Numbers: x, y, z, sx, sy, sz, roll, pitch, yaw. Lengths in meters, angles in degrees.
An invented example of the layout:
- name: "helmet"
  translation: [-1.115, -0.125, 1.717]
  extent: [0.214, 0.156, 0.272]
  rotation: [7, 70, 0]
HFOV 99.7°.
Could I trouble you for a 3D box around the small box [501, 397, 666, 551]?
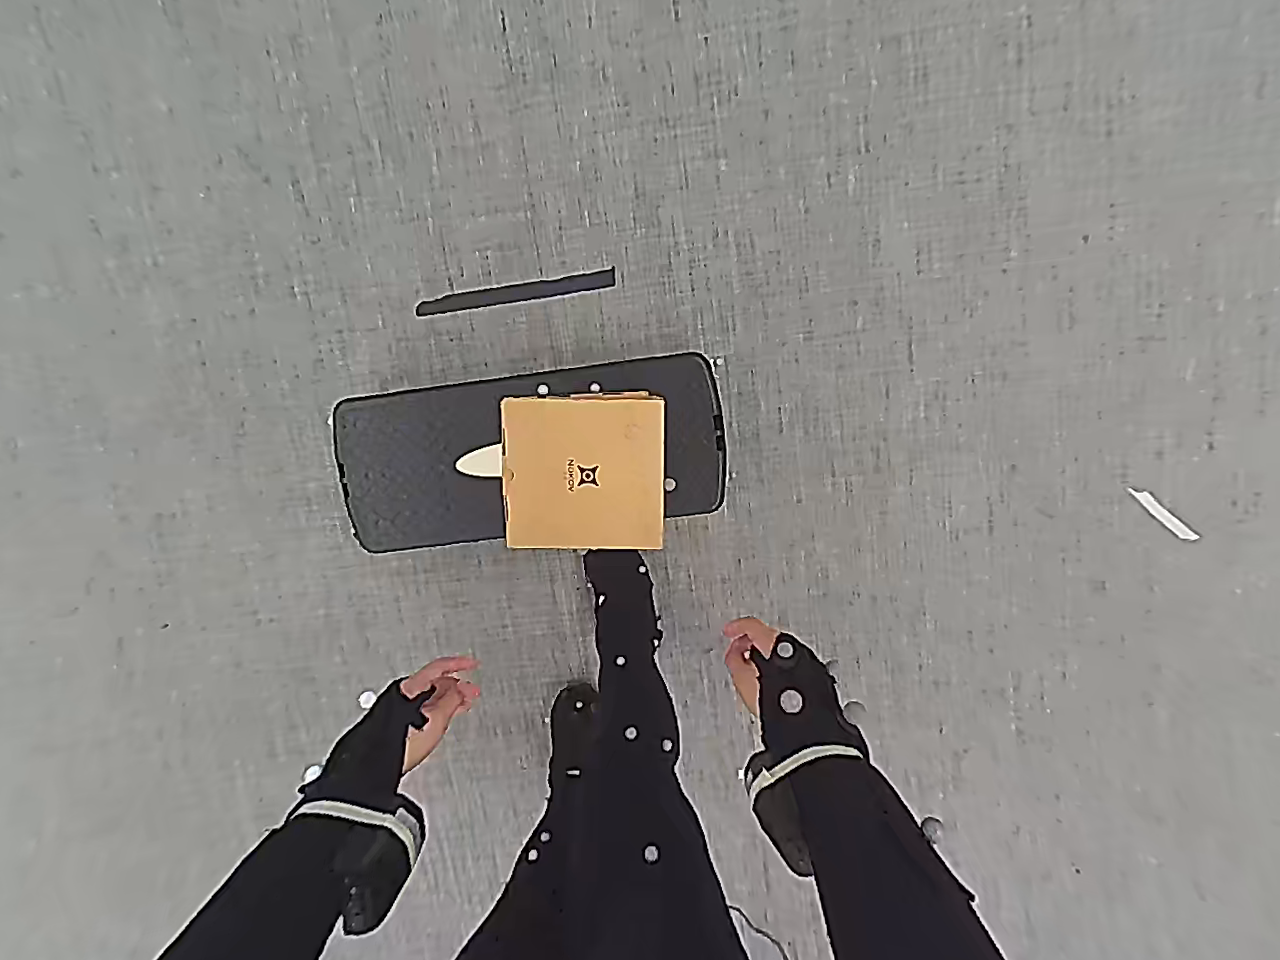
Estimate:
- name: "small box"
  translation: [-0.059, -0.016, 0.660]
  extent: [0.179, 0.176, 0.168]
  rotation: [0, 99, 2]
